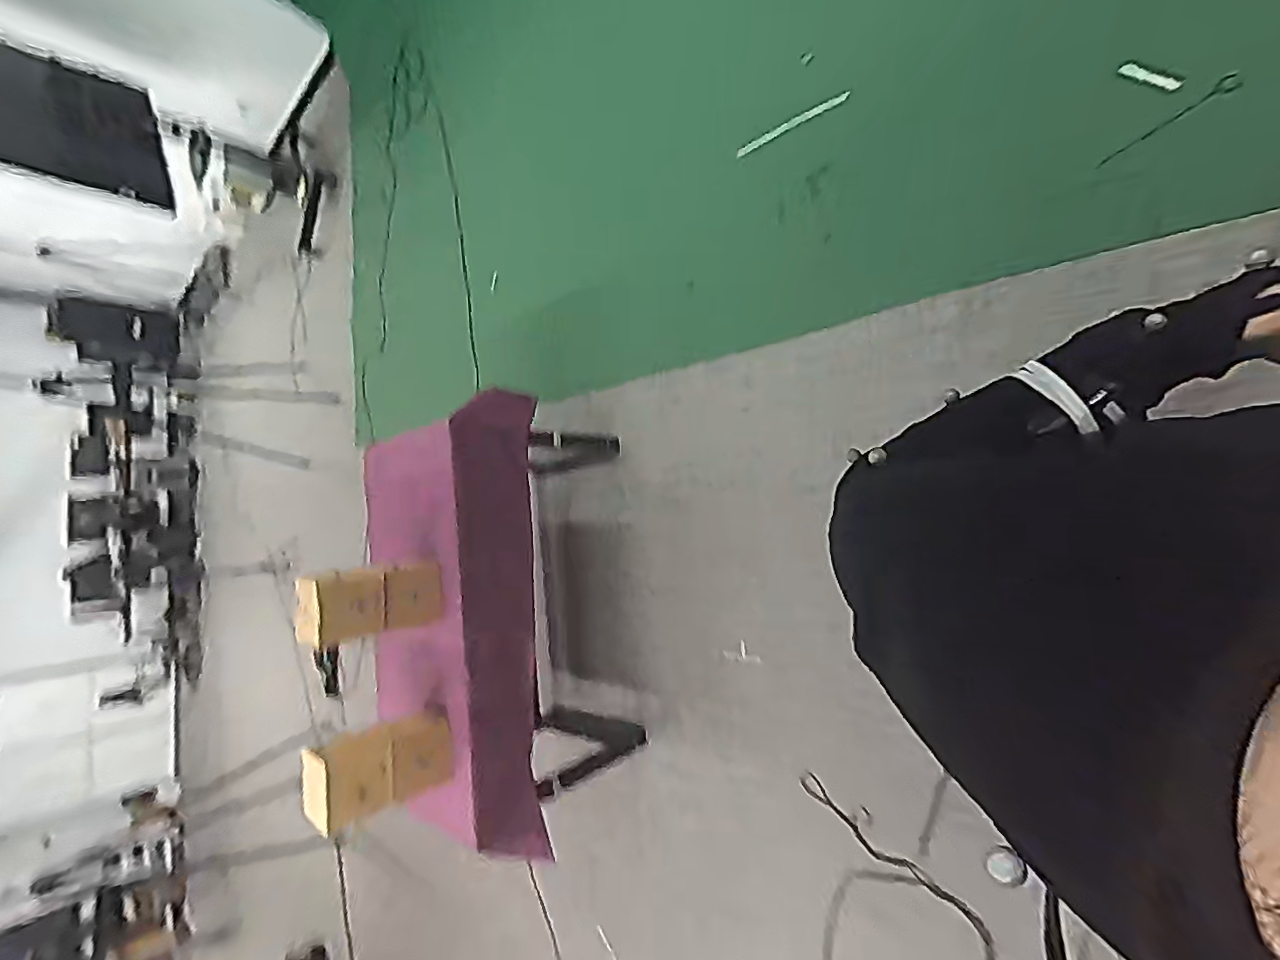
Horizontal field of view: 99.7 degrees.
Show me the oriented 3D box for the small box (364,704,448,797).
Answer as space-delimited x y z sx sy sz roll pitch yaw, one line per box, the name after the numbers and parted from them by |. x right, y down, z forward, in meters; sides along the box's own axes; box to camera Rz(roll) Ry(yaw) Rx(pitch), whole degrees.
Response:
-0.667 0.760 1.545 0.168 0.176 0.179 -7 85 41 | small box

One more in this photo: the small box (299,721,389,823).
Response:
-0.777 0.756 1.425 0.179 0.176 0.168 -6 86 42 | small box

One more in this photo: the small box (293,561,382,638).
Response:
-0.817 0.315 1.464 0.179 0.176 0.168 -1 89 41 | small box
